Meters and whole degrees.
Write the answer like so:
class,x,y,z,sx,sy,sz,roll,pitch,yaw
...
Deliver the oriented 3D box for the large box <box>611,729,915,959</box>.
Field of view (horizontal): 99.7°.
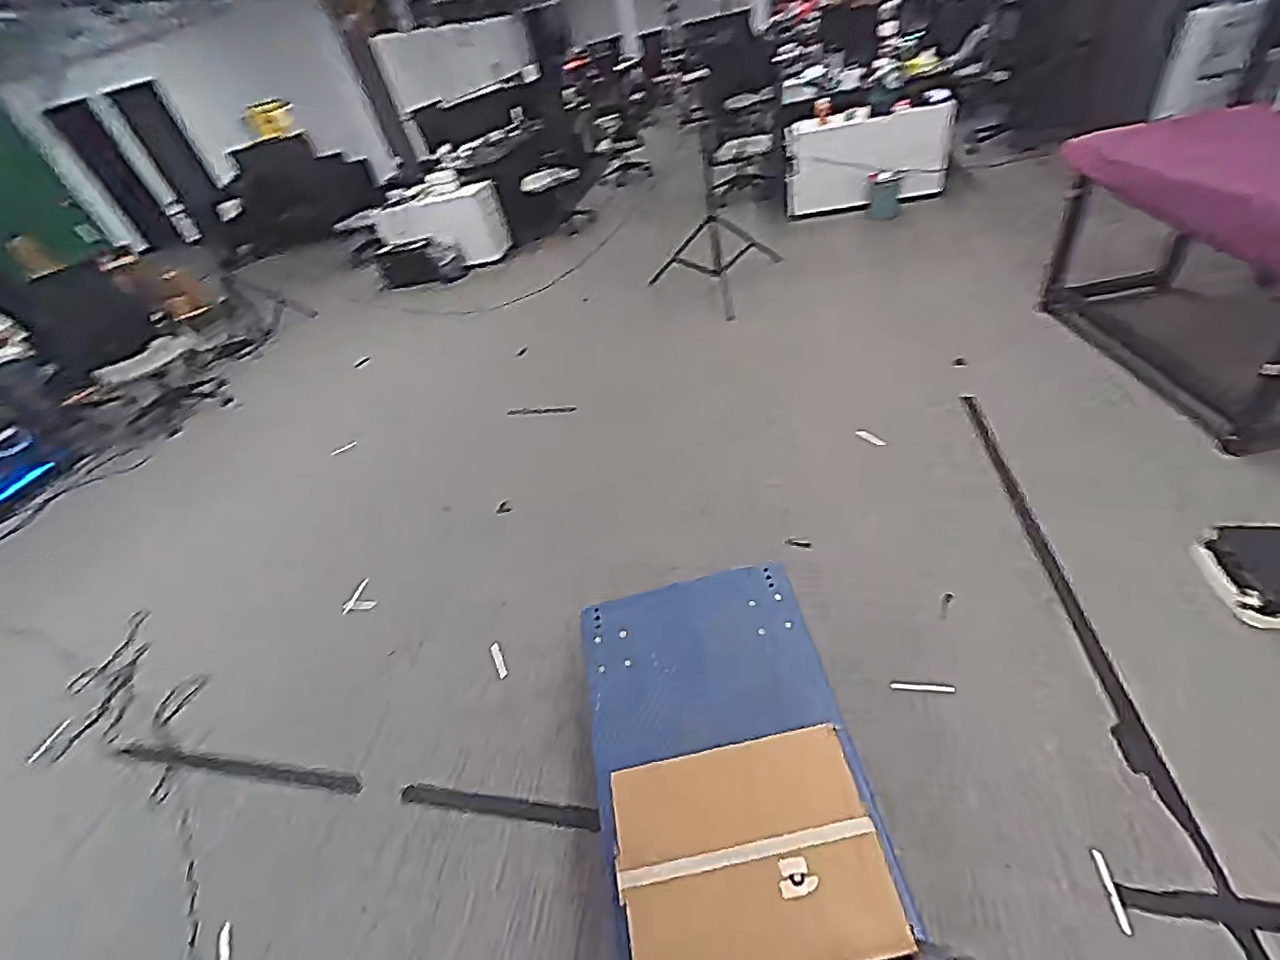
class,x,y,z,sx,sy,sz,roll,pitch,yaw
large box,0.190,0.688,0.960,0.408,0.320,0.320,-14,51,1
